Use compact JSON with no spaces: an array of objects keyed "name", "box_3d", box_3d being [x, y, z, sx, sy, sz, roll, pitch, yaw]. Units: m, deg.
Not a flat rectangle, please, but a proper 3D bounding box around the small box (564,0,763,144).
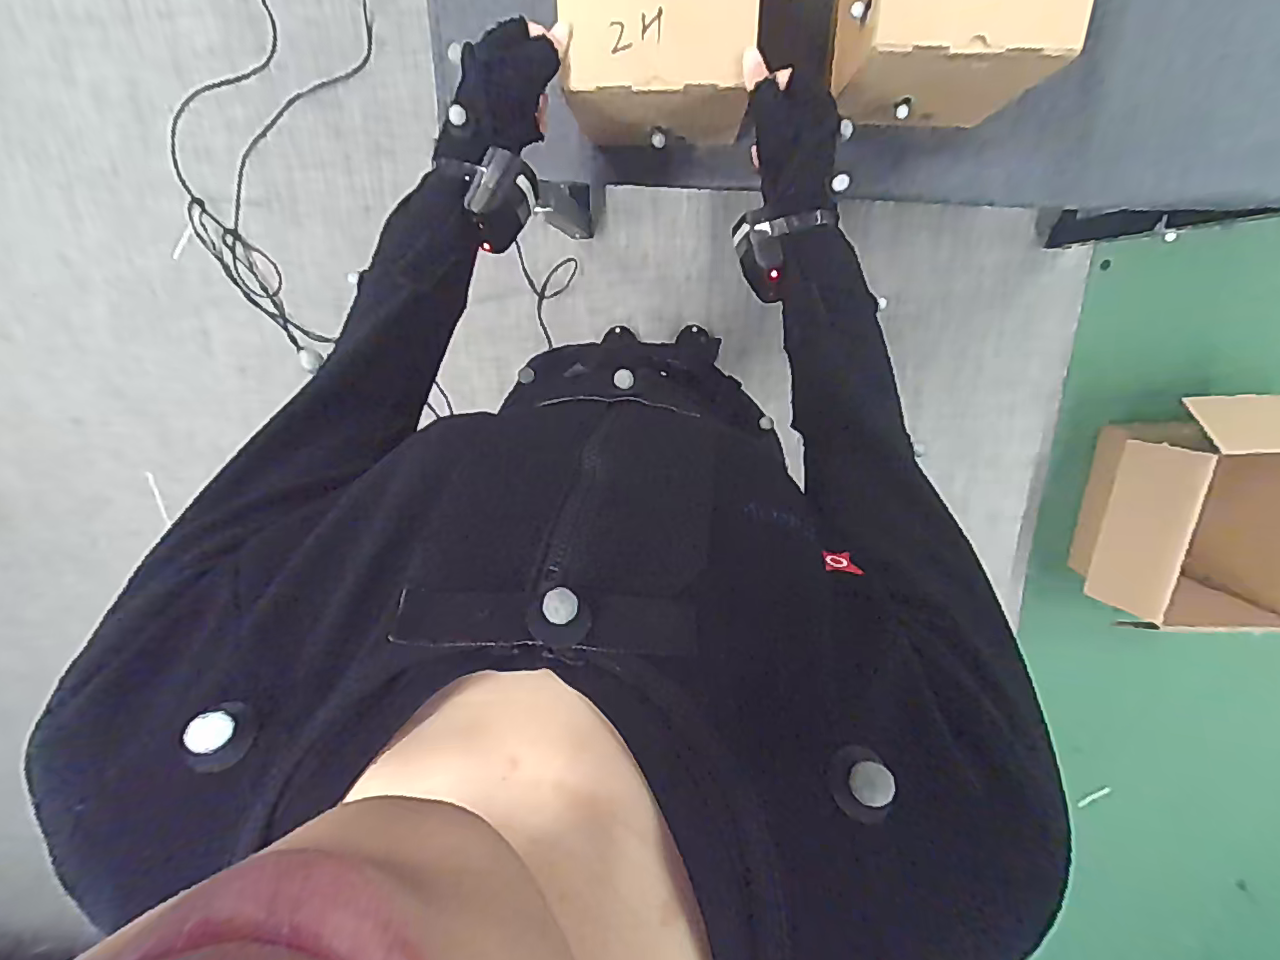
[{"name":"small box","box_3d":[0.022,-0.441,0.510,0.168,0.176,0.179,1,108,4]}]
